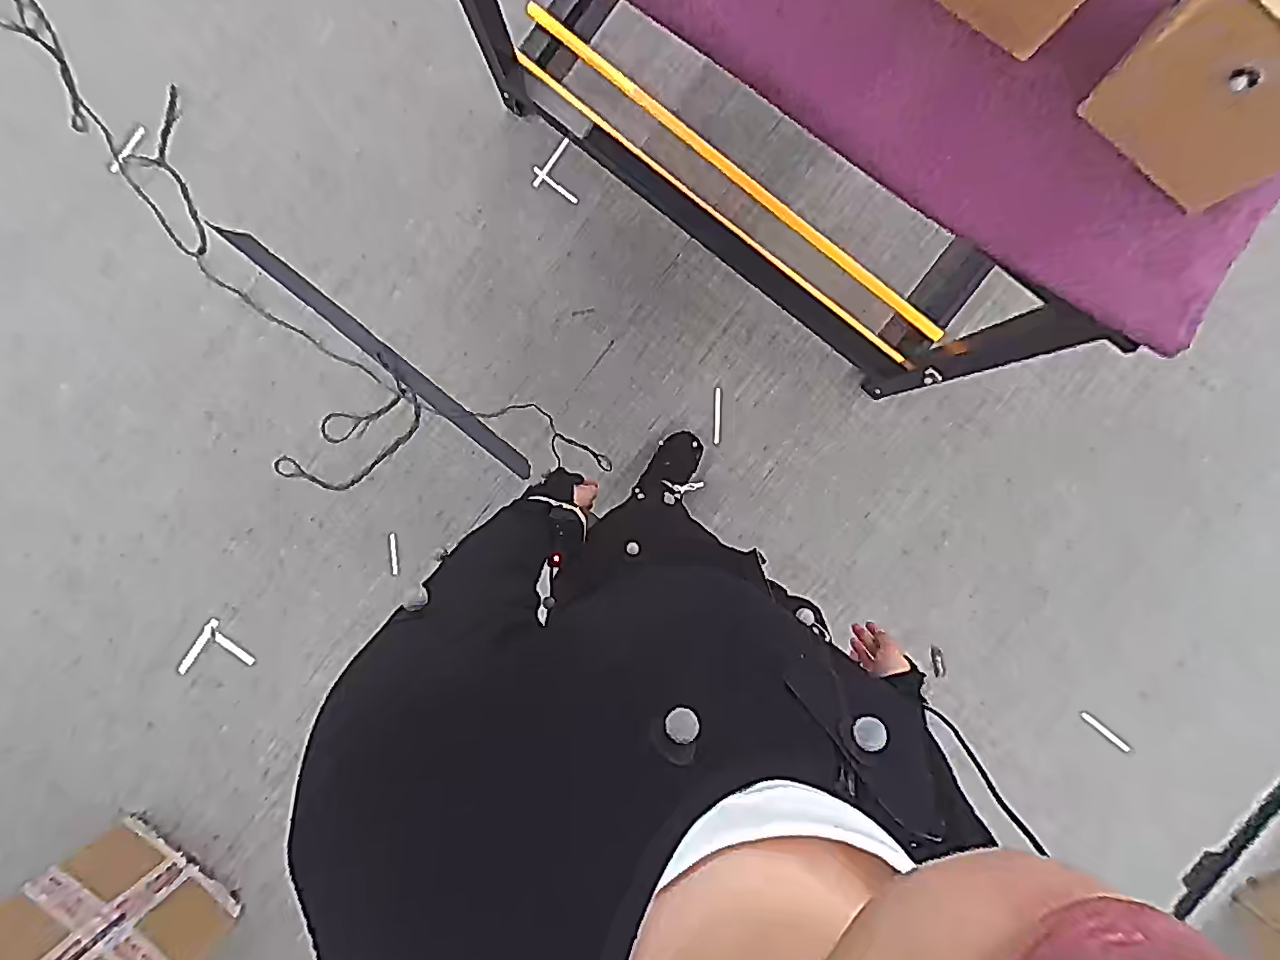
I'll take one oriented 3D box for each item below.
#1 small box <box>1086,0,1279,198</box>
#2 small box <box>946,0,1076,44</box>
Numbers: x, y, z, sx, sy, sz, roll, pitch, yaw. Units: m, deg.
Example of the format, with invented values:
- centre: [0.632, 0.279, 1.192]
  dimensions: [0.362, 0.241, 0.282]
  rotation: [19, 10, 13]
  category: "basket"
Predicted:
- centre: [0.604, -0.421, 0.525]
  dimensions: [0.179, 0.176, 0.168]
  rotation: [41, 92, -1]
  category: "small box"
- centre: [0.409, -0.586, 0.526]
  dimensions: [0.179, 0.176, 0.168]
  rotation: [36, 93, 0]
  category: "small box"
